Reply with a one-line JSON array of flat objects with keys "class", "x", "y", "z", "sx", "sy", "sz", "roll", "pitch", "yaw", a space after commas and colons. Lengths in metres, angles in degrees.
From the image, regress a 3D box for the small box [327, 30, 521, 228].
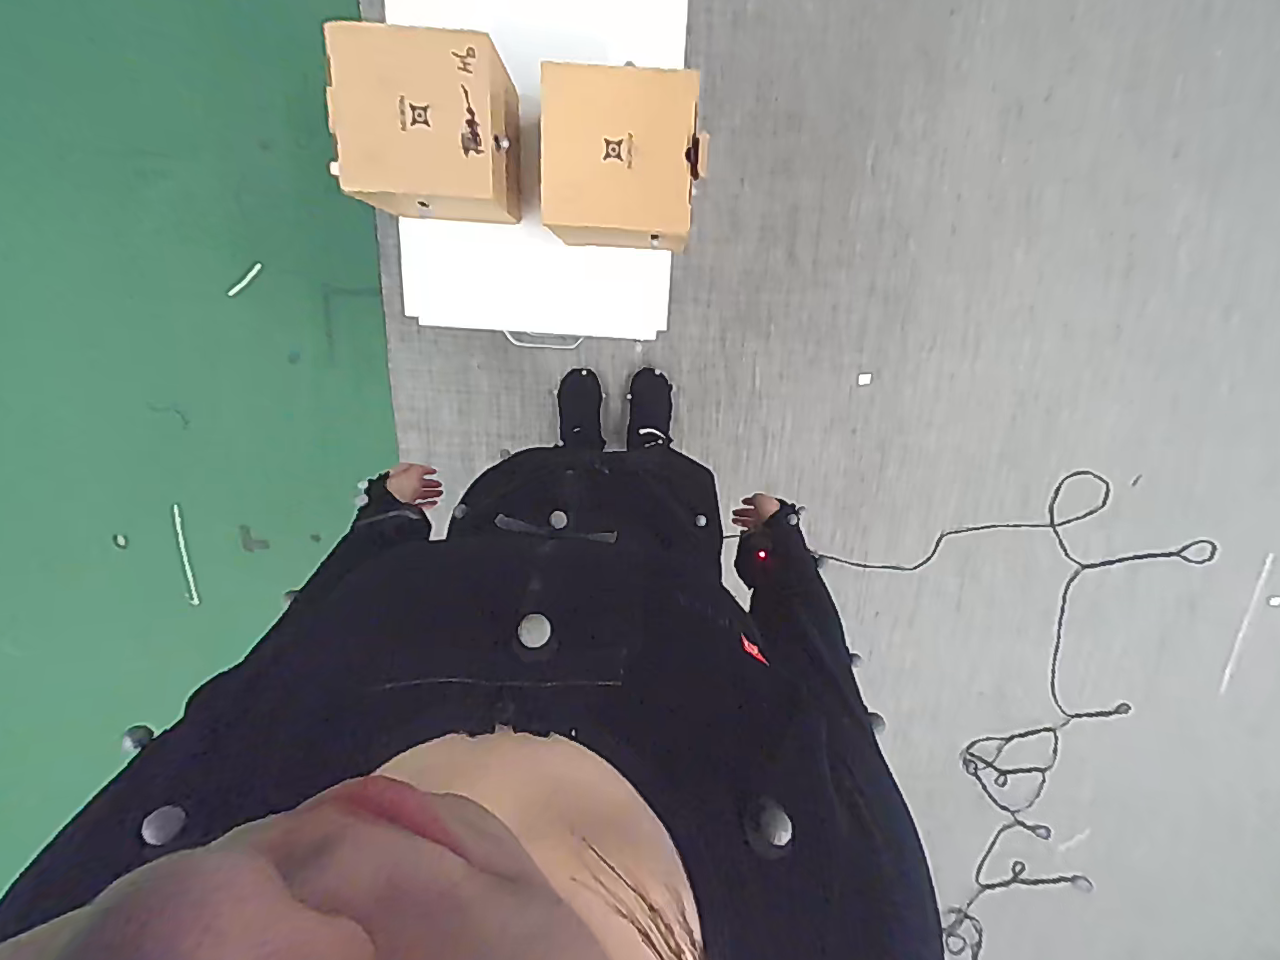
[{"class": "small box", "x": -0.254, "y": -0.421, "z": 0.677, "sx": 0.179, "sy": 0.176, "sz": 0.168, "roll": 2, "pitch": 107, "yaw": -2}]
